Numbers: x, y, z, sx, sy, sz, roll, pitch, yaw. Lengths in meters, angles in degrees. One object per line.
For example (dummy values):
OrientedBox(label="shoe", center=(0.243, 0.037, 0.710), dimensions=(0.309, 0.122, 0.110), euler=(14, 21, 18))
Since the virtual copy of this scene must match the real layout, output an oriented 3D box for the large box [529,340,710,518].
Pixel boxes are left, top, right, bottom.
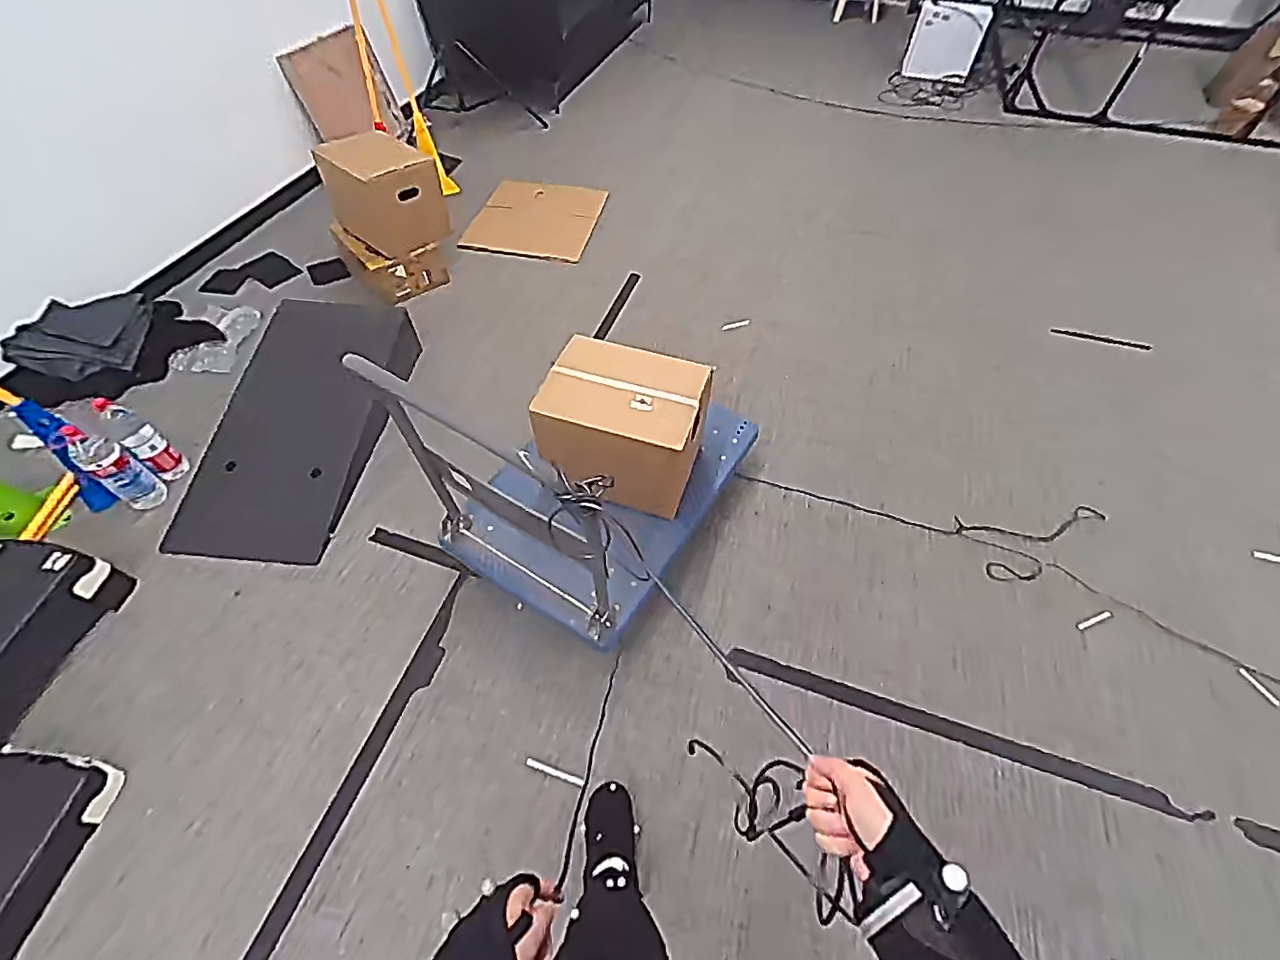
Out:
OrientedBox(label="large box", center=(-0.051, -0.140, 1.514), dimensions=(0.408, 0.320, 0.320), euler=(15, 55, 9))
